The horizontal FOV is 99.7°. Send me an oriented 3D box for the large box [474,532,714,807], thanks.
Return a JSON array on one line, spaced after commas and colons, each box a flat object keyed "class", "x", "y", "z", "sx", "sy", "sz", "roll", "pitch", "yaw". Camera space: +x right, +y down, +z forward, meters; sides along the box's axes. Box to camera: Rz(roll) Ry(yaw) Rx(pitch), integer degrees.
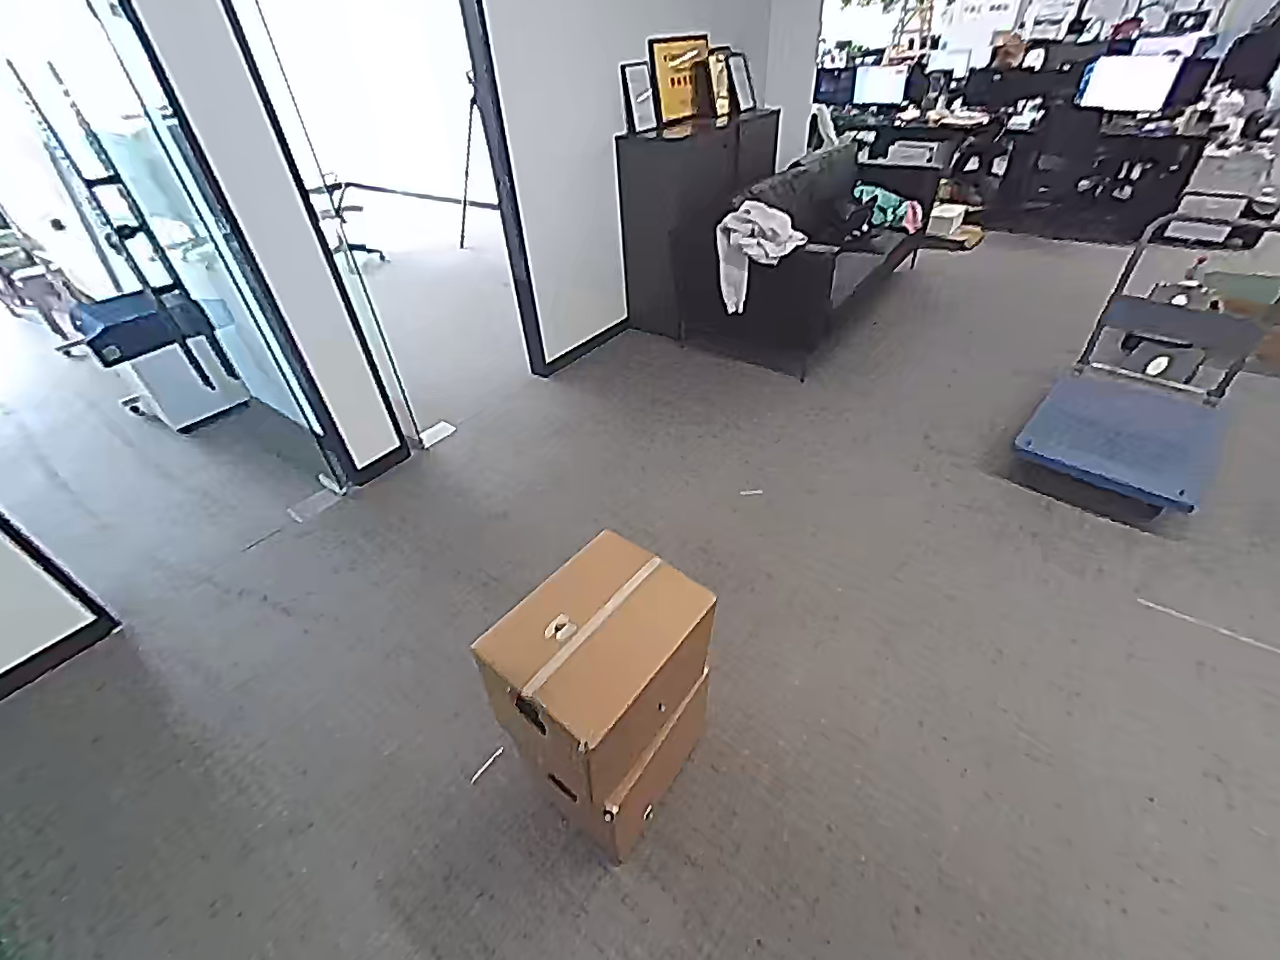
[{"class": "large box", "x": -0.084, "y": 0.396, "z": 1.183, "sx": 0.320, "sy": 0.320, "sz": 0.408, "roll": 28, "pitch": 49, "yaw": 27}]
